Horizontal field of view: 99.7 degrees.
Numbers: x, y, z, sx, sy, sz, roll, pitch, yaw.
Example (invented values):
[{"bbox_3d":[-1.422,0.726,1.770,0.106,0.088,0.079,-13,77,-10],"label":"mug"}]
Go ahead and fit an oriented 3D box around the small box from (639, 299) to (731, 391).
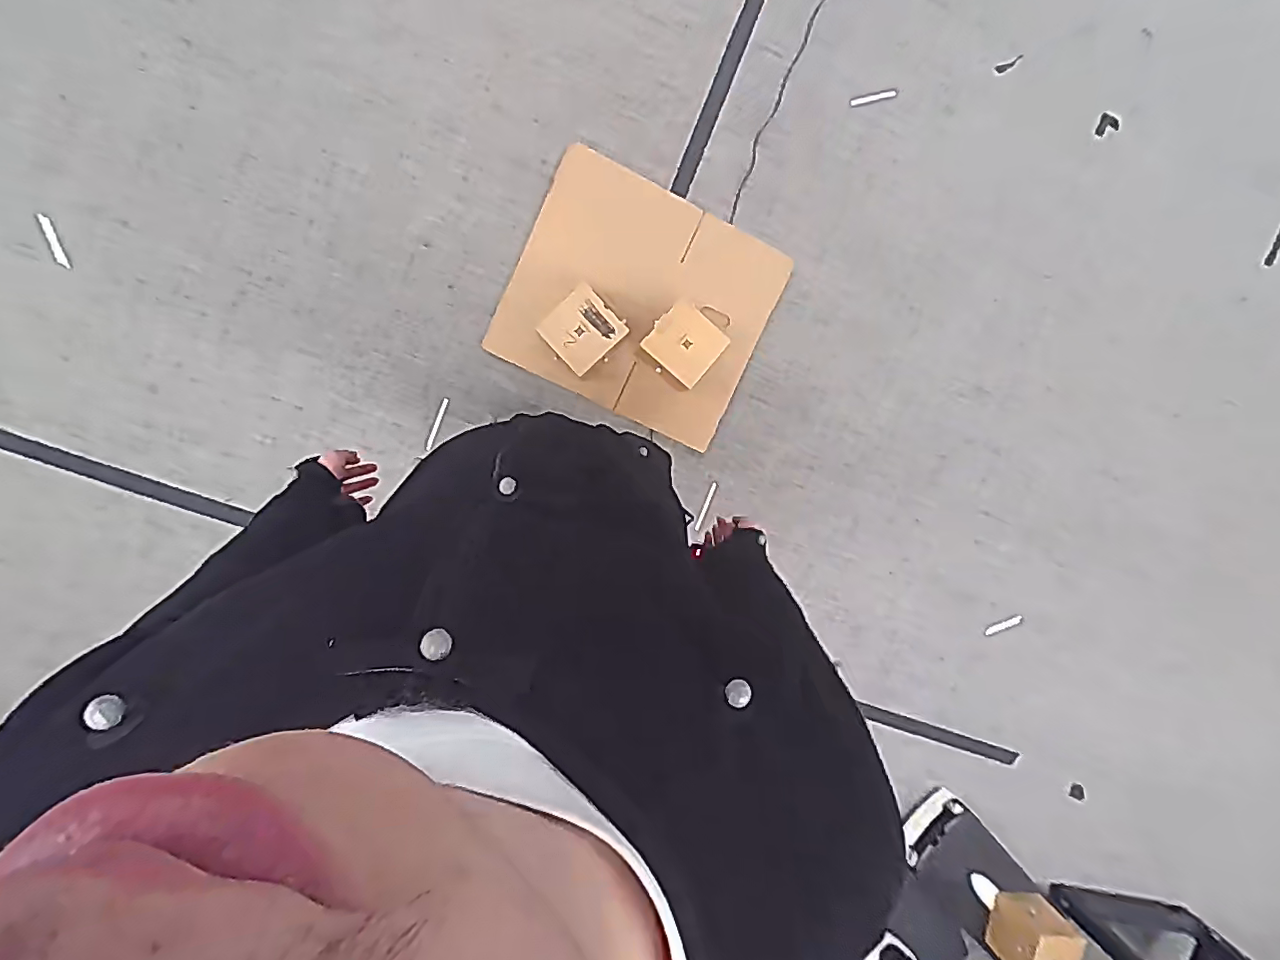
[{"bbox_3d":[0.115,-0.358,1.467,0.179,0.176,0.168,40,92,-6],"label":"small box"}]
